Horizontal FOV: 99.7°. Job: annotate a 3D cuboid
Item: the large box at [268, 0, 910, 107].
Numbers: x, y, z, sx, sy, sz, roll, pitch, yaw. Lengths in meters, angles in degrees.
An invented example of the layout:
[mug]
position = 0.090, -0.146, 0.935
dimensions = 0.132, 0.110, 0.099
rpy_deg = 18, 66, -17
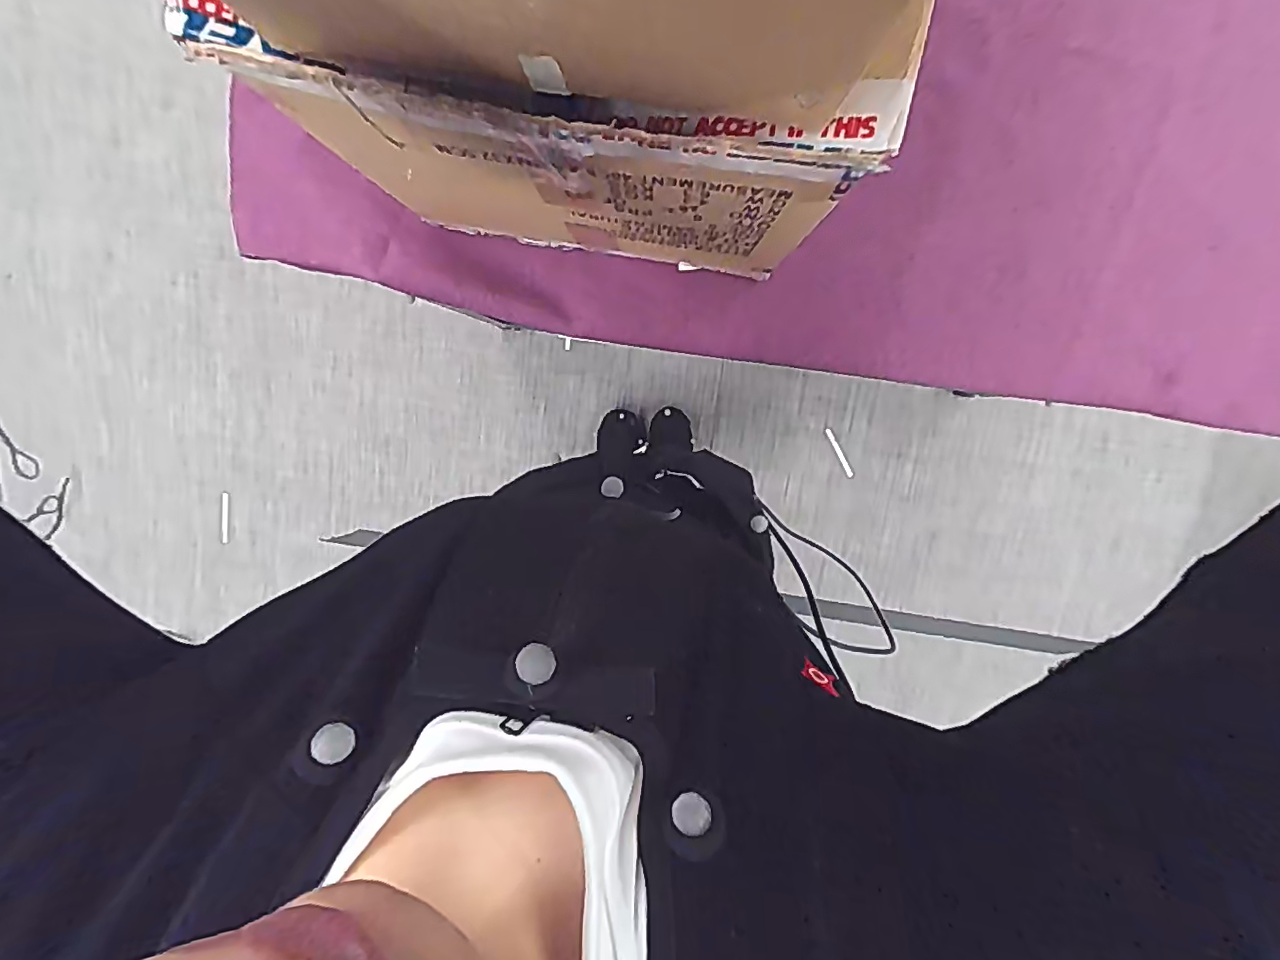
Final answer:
[large box]
position = -0.017, -0.390, 0.116
dimensions = 0.320, 0.320, 0.408
rpy_deg = 8, 100, 1
